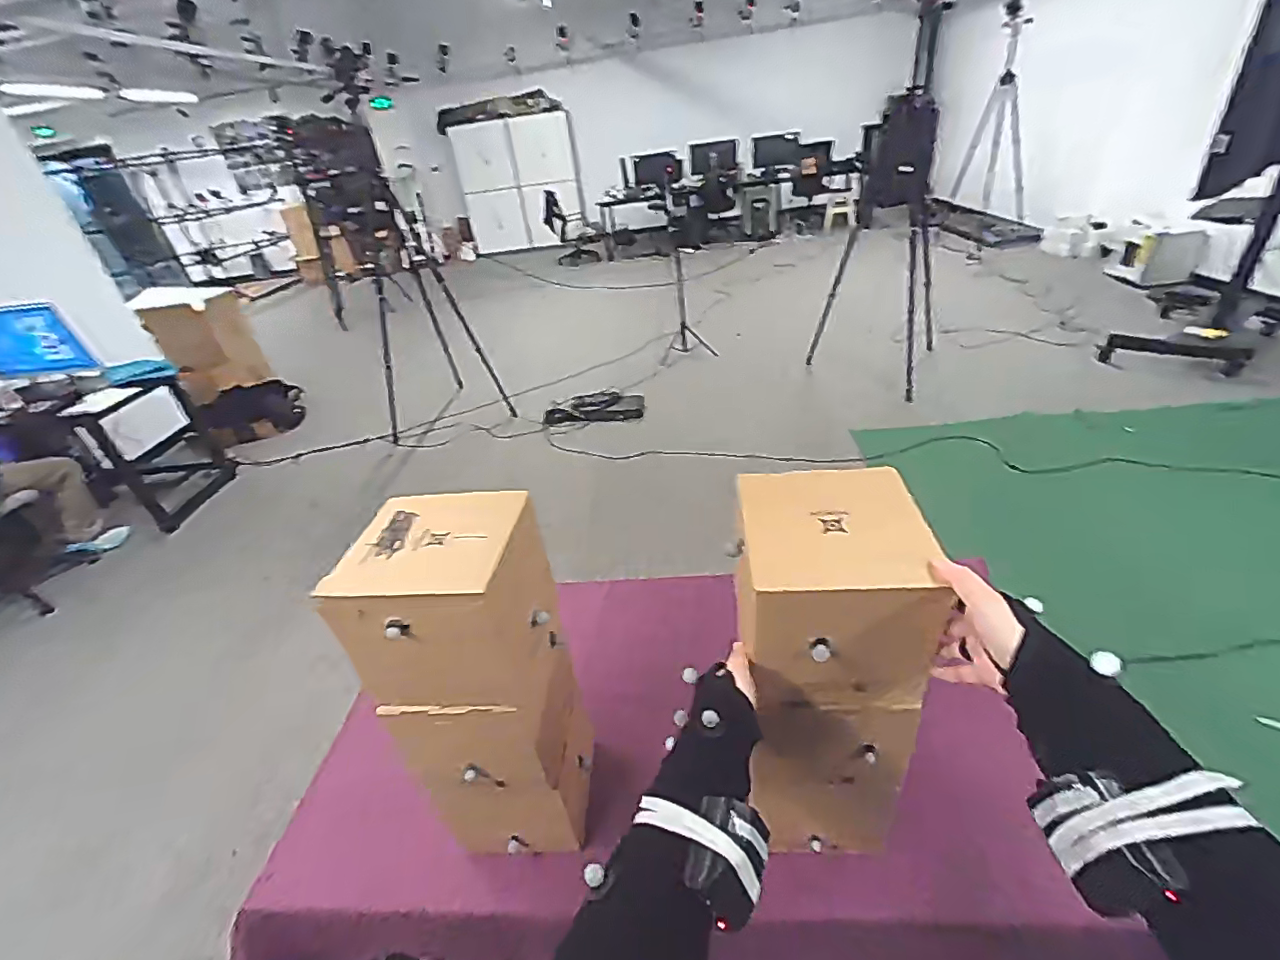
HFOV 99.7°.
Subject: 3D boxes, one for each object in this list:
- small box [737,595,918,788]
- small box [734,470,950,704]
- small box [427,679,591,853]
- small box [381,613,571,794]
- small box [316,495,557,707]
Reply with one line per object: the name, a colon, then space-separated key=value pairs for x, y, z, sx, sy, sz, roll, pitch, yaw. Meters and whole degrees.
small box: x=0.208 y=0.245 z=0.648 sx=0.168 sy=0.176 sz=0.179 roll=-4 pitch=34 yaw=6
small box: x=0.188 y=0.110 z=0.558 sx=0.168 sy=0.176 sz=0.179 roll=-3 pitch=34 yaw=6
small box: x=-0.172 y=0.412 z=0.782 sx=0.179 sy=0.176 sz=0.168 roll=-5 pitch=33 yaw=5
small box: x=-0.192 y=0.272 z=0.696 sx=0.168 sy=0.176 sz=0.179 roll=-5 pitch=33 yaw=7
small box: x=-0.207 y=0.134 z=0.607 sx=0.179 sy=0.176 sz=0.168 roll=-3 pitch=33 yaw=8
